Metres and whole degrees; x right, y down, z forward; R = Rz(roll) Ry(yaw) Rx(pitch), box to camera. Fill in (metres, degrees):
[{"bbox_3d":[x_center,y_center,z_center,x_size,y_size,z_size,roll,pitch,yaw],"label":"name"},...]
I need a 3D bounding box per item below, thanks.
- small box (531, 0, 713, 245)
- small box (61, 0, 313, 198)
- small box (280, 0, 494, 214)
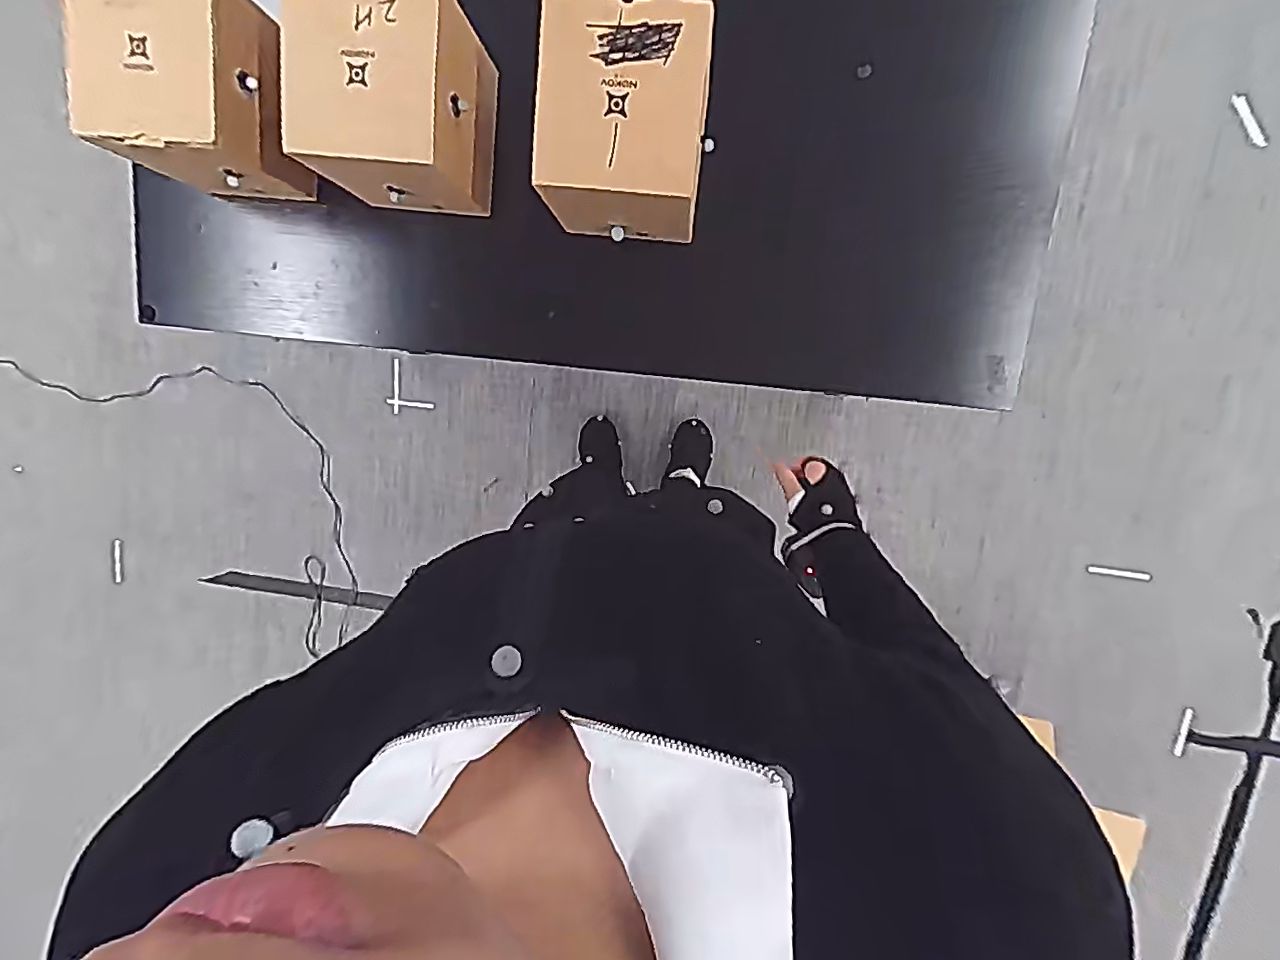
[{"bbox_3d":[-0.015,-0.385,0.608,0.168,0.176,0.179,7,100,4],"label":"small box"},{"bbox_3d":[-0.514,-0.457,0.640,0.168,0.176,0.179,6,98,2],"label":"small box"},{"bbox_3d":[-0.277,-0.427,0.623,0.168,0.176,0.179,7,99,3],"label":"small box"}]
